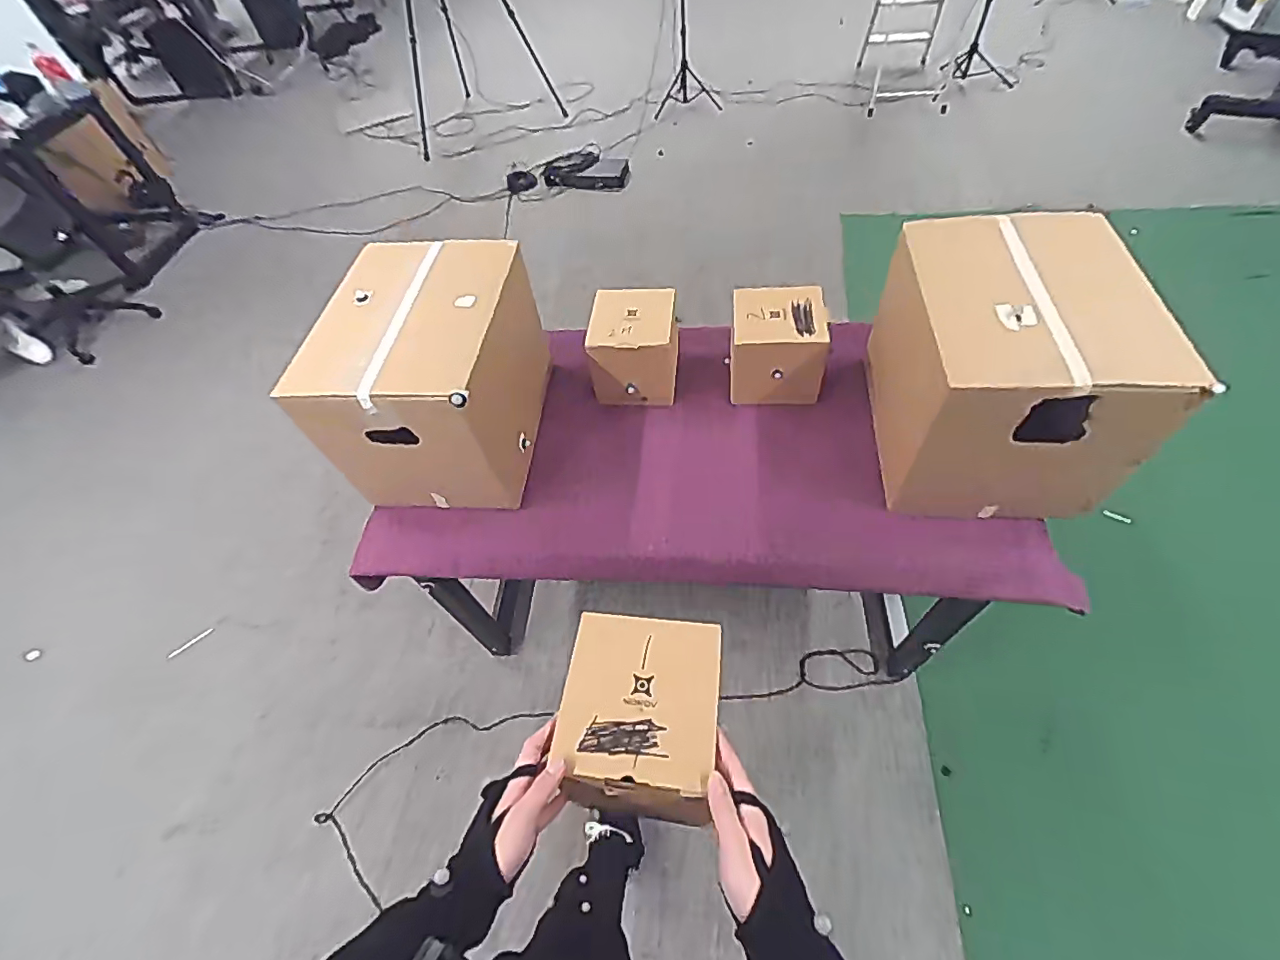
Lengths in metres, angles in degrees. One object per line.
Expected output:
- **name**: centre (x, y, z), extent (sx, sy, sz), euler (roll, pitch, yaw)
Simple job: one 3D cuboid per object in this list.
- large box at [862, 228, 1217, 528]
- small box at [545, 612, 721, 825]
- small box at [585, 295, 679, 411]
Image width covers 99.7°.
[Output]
- **large box**: centre (0.594, -0.171, 0.916), extent (0.320, 0.320, 0.408), euler (1, 55, 9)
- **small box**: centre (0.005, 0.278, 0.627), extent (0.168, 0.176, 0.179), euler (4, 48, 9)
- **small box**: centre (-0.009, -0.266, 1.136), extent (0.168, 0.176, 0.179), euler (1, 55, 9)
